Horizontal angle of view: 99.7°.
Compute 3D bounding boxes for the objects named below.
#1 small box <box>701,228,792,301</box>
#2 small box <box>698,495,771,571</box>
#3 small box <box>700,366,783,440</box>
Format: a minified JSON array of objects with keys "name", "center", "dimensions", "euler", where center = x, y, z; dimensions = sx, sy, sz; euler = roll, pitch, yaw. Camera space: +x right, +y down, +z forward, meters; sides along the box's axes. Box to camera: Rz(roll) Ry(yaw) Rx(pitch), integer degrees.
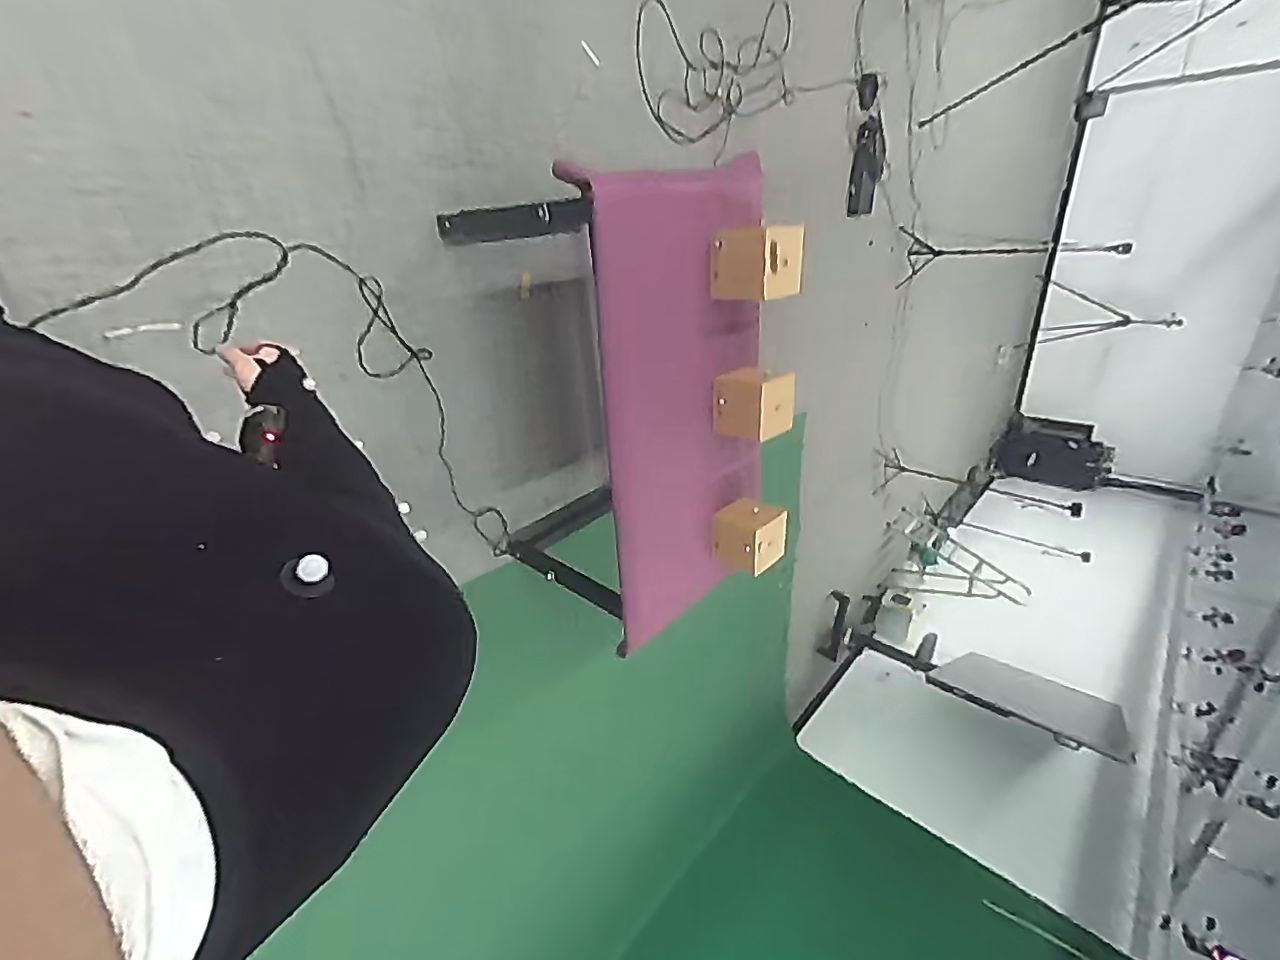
[{"name":"small box","center":[0.274,-0.567,1.419],"dimensions":[0.179,0.176,0.168],"euler":[-26,124,-40]},{"name":"small box","center":[0.309,0.165,1.772],"dimensions":[0.179,0.176,0.168],"euler":[-26,123,-41]},{"name":"small box","center":[0.296,-0.233,1.592],"dimensions":[0.179,0.176,0.168],"euler":[-24,122,-41]}]
